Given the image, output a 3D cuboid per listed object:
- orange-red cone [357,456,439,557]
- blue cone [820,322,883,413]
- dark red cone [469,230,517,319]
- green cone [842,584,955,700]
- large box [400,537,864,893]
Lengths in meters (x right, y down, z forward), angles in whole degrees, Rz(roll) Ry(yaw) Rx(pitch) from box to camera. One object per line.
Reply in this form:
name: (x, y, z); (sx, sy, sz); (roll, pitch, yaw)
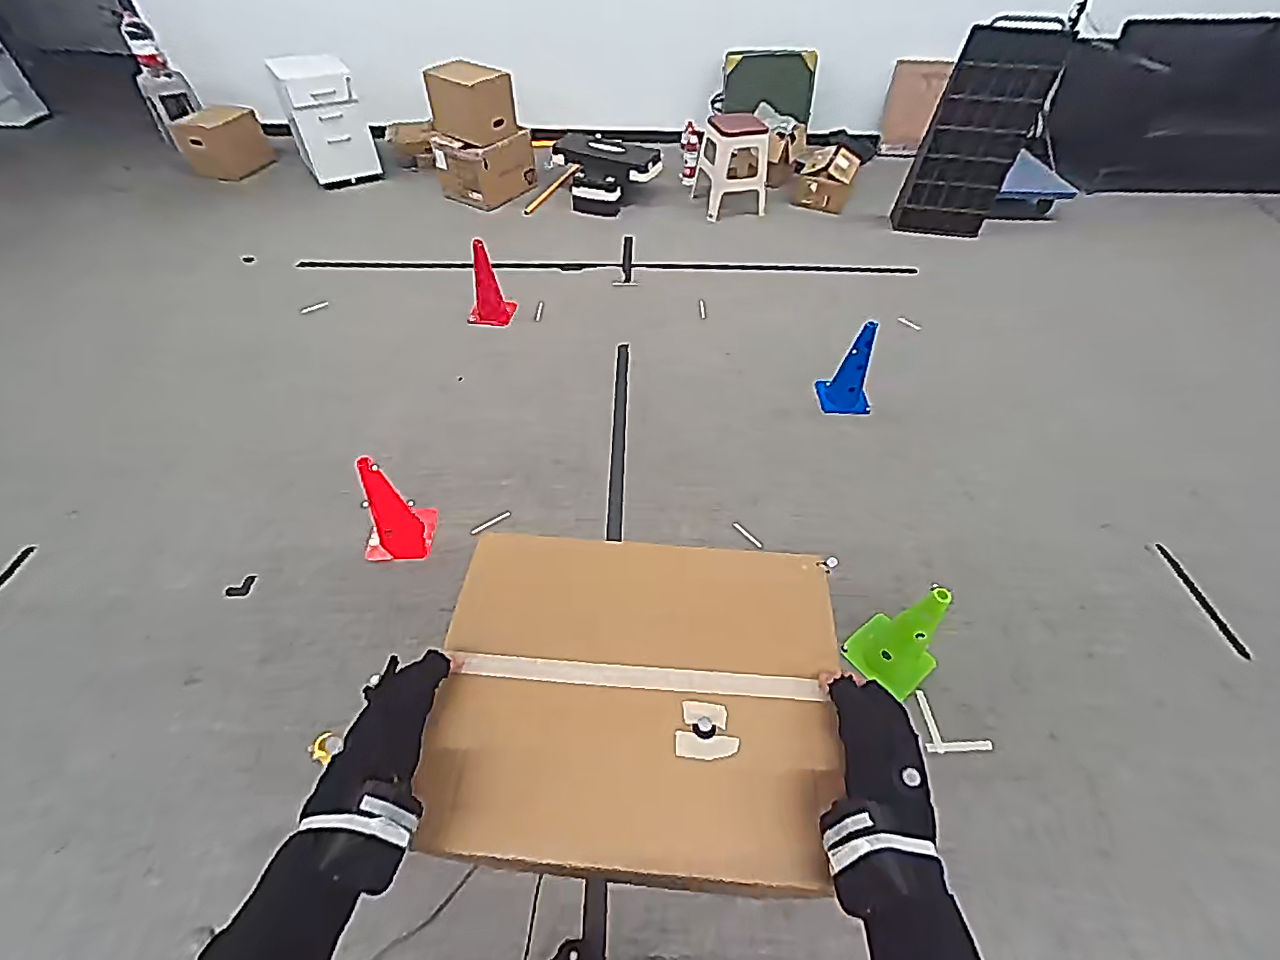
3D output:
orange-red cone: (-0.771, 0.060, 1.644); (0.198, 0.360, 0.199); (-2, 51, -2)
blue cone: (0.867, -0.455, 2.147); (0.192, 0.380, 0.193); (4, 50, 0)
dark red cone: (-0.698, -0.940, 2.472); (0.201, 0.394, 0.202); (6, 50, 2)
green cone: (0.712, 0.383, 1.401); (0.202, 0.368, 0.200); (-29, 57, -25)
large box: (-0.001, 0.291, 0.662); (0.408, 0.320, 0.320); (4, 52, 3)
